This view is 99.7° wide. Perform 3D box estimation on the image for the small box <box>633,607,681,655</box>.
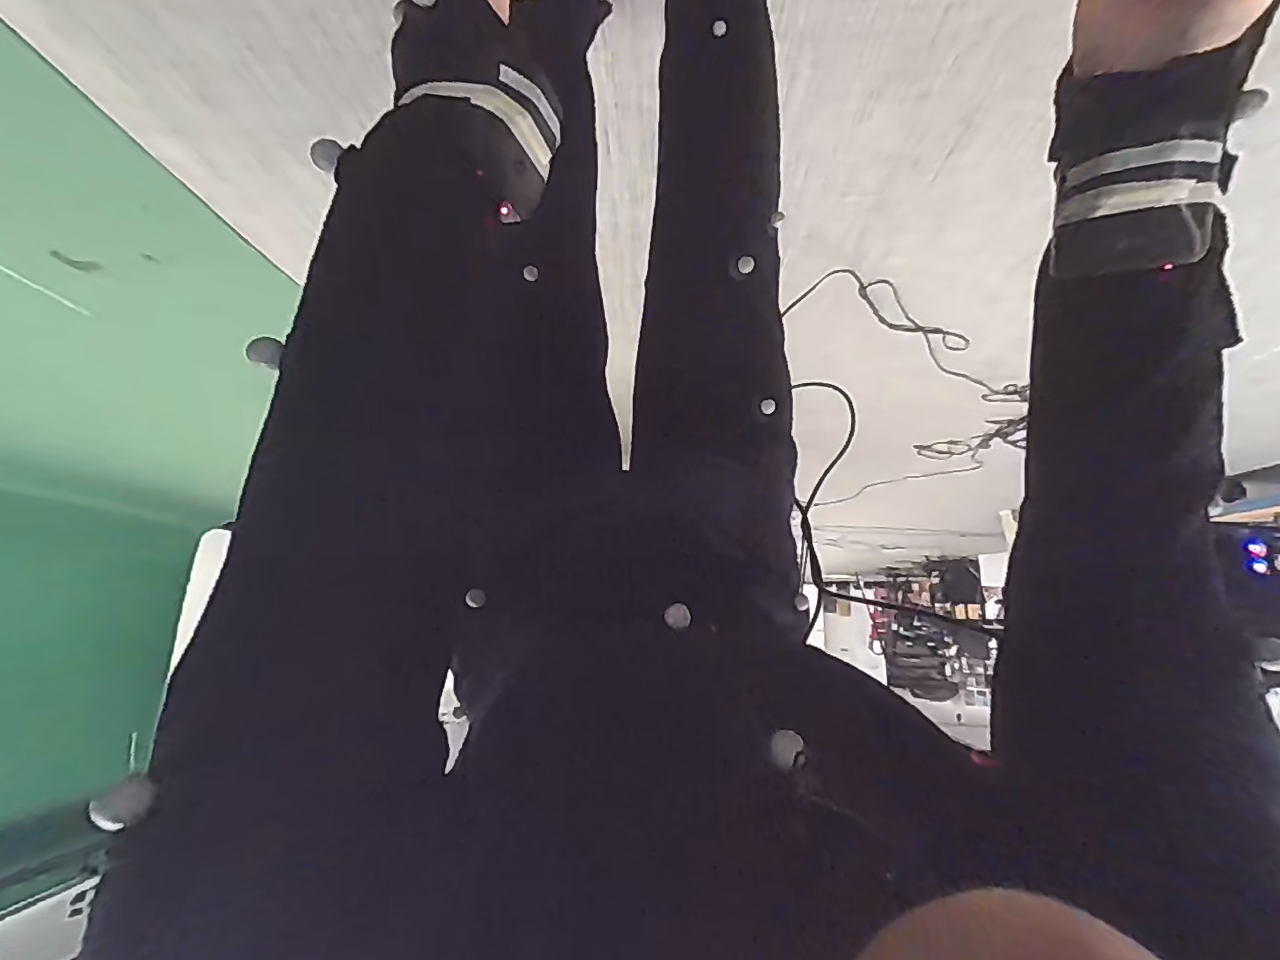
[{"bbox_3d":[0.073,0.592,2.133,0.168,0.176,0.179,-2,166,12],"label":"small box"}]
